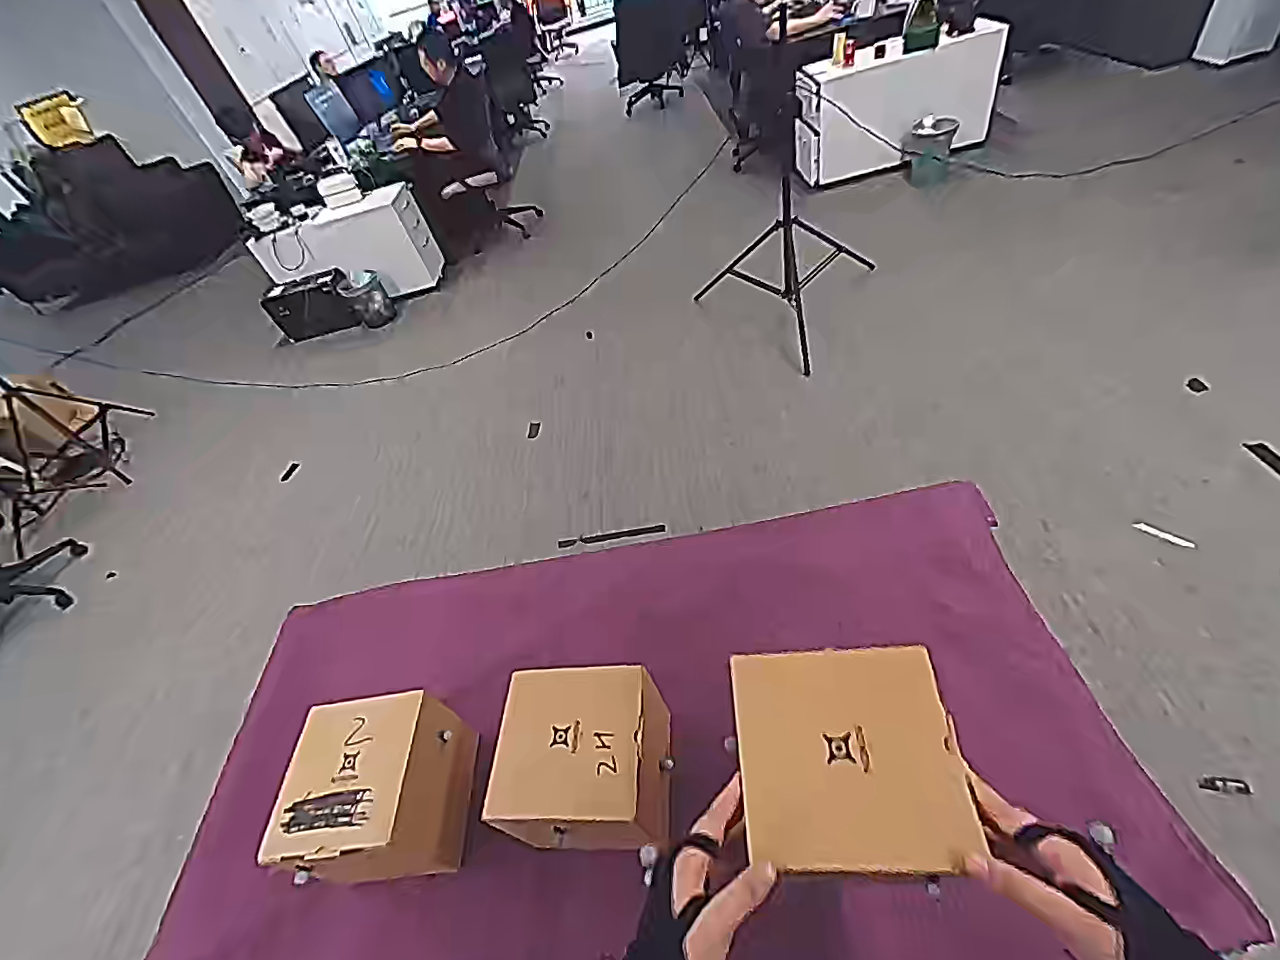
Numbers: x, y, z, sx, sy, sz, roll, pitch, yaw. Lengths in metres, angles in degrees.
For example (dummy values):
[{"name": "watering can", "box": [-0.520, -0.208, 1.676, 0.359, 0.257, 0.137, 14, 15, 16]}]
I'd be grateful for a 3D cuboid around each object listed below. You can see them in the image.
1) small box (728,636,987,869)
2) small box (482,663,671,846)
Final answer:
[{"name": "small box", "box": [0.182, 0.262, 0.510, 0.179, 0.176, 0.168, -6, 51, 8]}, {"name": "small box", "box": [-0.065, 0.344, 0.675, 0.179, 0.176, 0.168, -6, 47, 12]}]
